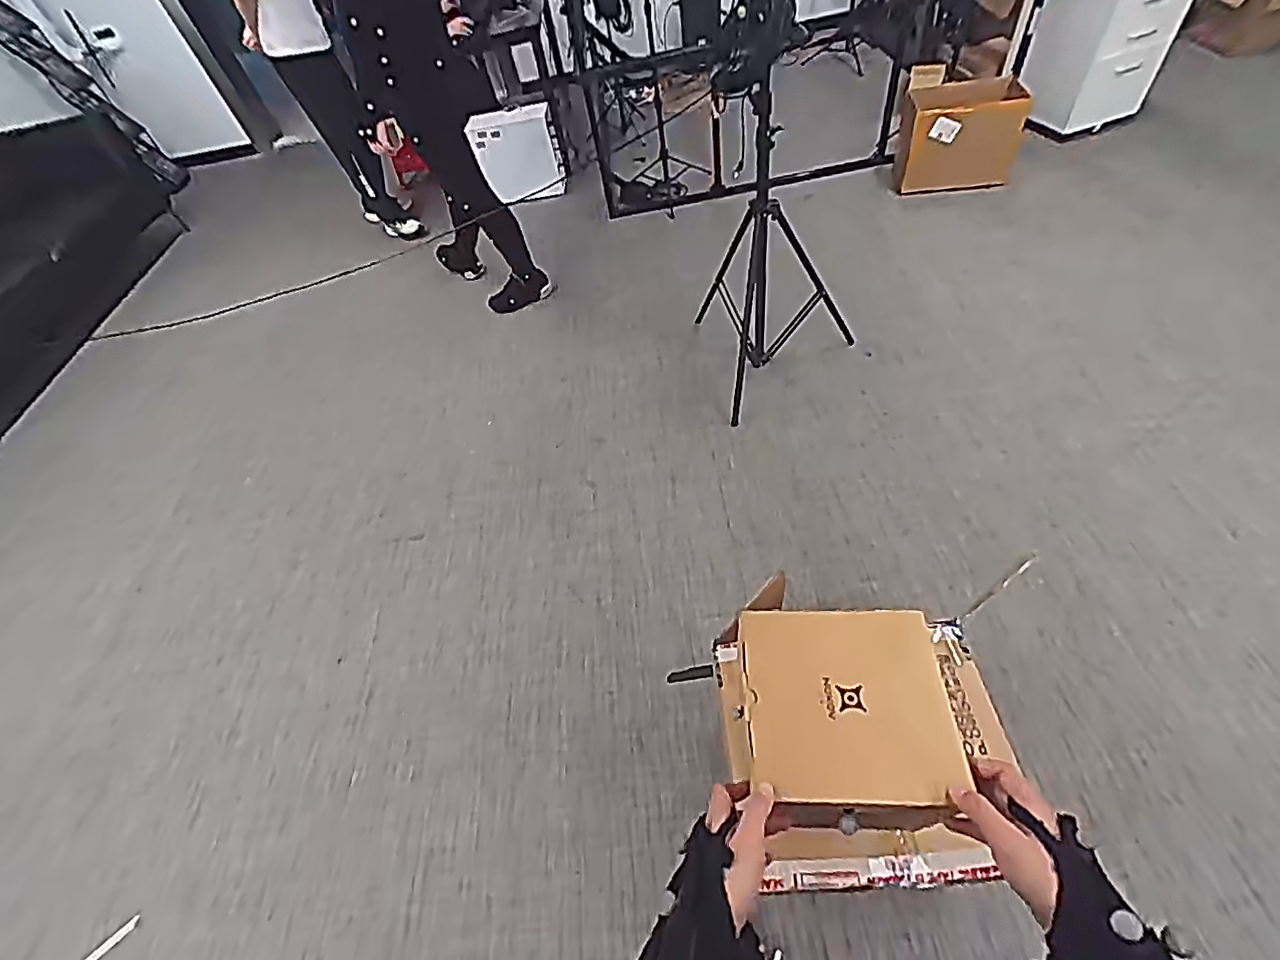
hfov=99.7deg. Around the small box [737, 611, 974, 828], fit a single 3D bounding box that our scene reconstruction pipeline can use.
[{"bbox_3d":[0.192,0.244,0.545,0.179,0.176,0.168,-3,52,7],"label":"small box"}]
